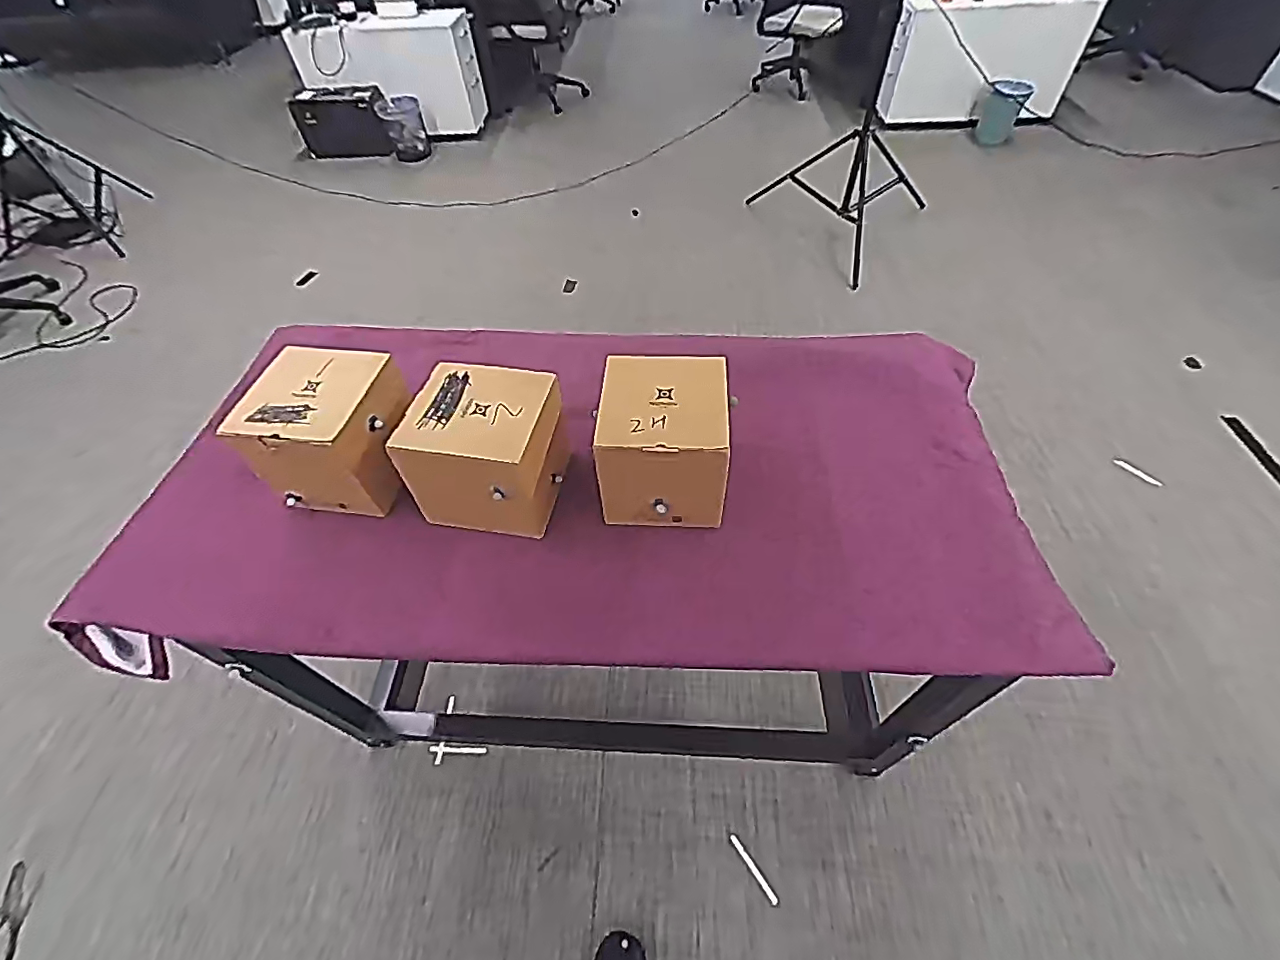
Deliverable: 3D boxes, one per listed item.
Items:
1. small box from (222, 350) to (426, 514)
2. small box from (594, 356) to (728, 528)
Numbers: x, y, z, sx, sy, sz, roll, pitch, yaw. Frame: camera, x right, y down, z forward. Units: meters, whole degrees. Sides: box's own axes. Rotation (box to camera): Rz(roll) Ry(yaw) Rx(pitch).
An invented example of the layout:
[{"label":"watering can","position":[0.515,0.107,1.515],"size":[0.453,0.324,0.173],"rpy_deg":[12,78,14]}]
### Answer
[{"label":"small box","position":[-0.443,-0.068,0.798],"size":[0.168,0.176,0.179],"rpy_deg":[6,52,7]},{"label":"small box","position":[0.033,-0.053,0.765],"size":[0.168,0.176,0.179],"rpy_deg":[1,51,5]}]
